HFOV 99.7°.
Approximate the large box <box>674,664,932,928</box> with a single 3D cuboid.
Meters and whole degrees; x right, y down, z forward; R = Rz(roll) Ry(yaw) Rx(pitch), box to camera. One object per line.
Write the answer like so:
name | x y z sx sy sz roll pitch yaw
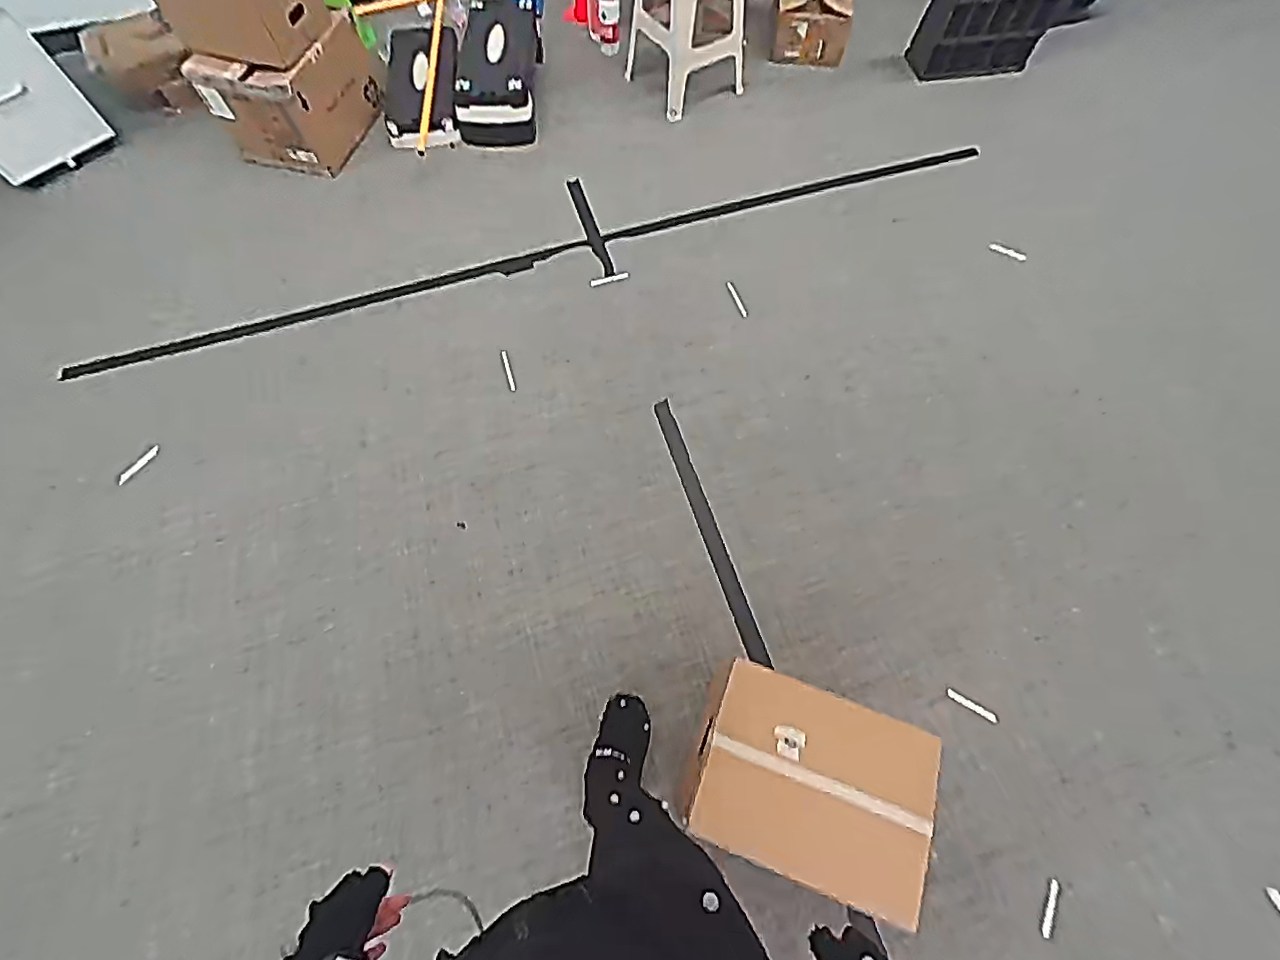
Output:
large box | 0.313 0.615 1.117 0.408 0.320 0.320 20 66 9
